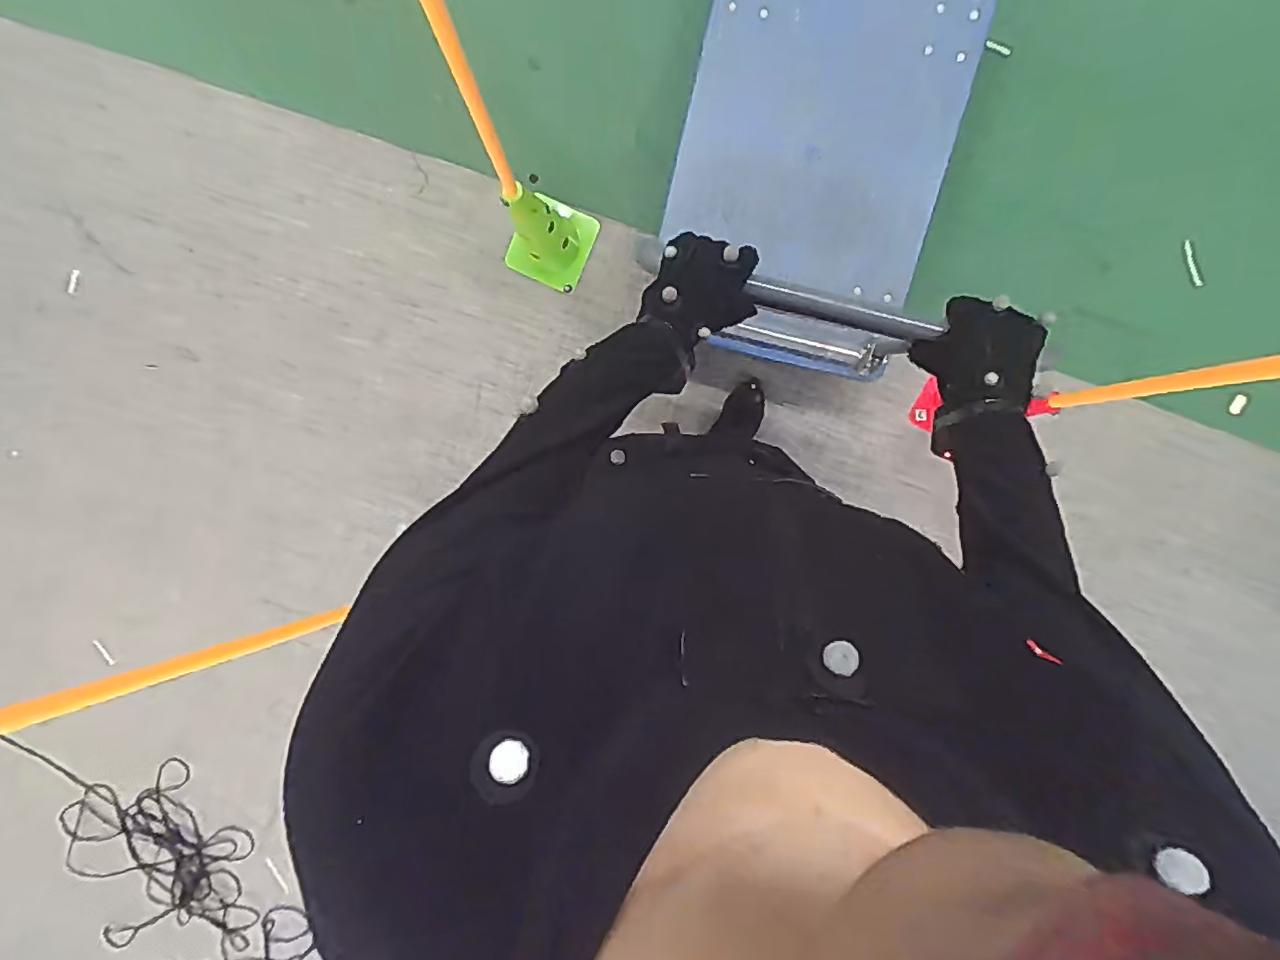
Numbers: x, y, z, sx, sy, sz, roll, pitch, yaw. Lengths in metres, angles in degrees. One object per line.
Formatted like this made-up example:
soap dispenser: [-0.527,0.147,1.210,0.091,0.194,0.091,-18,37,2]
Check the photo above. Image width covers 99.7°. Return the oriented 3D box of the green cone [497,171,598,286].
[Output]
green cone: [-0.242,-0.610,1.235,0.202,0.368,0.200,24,98,1]
